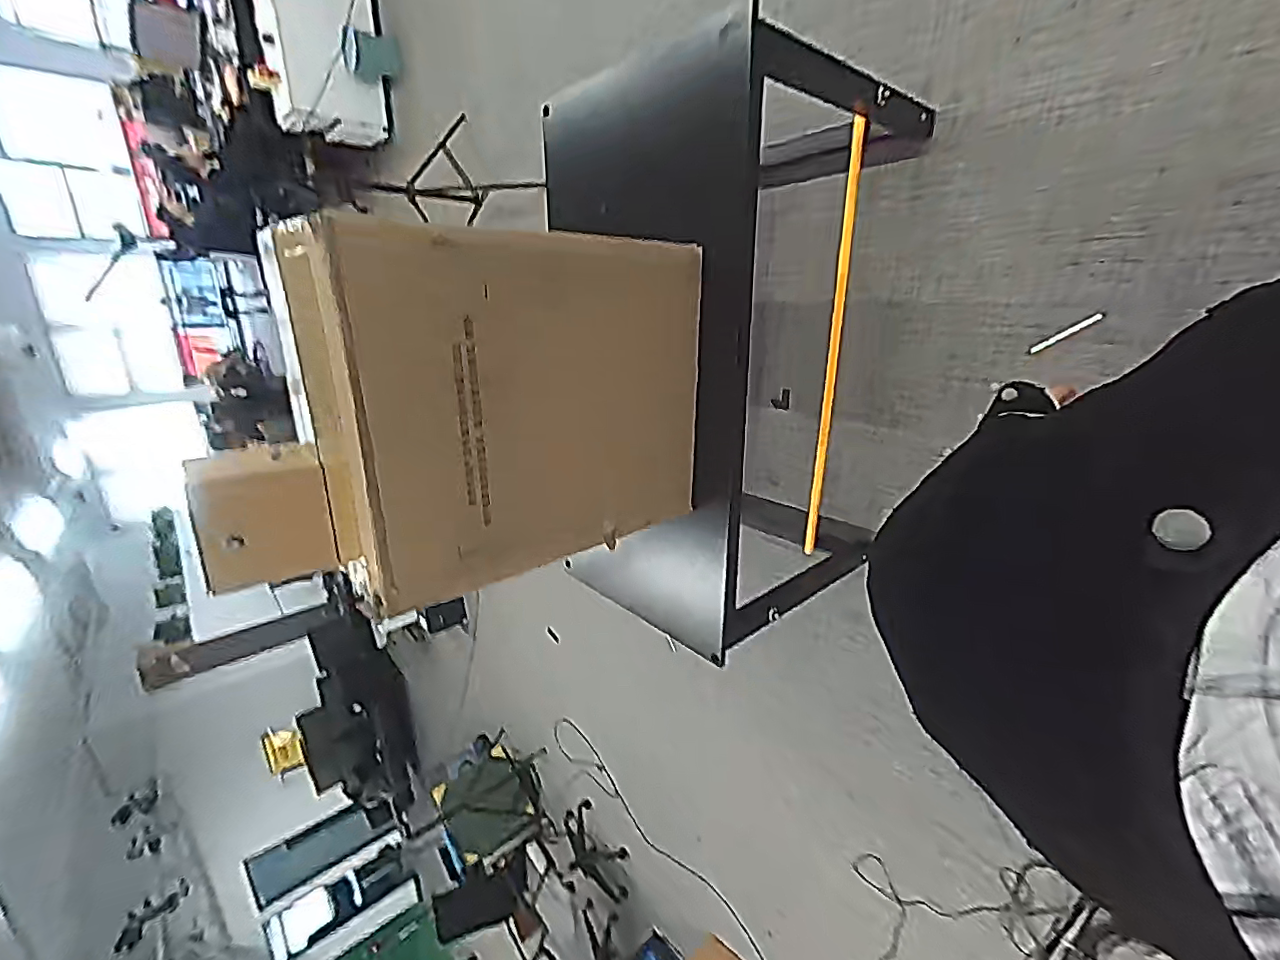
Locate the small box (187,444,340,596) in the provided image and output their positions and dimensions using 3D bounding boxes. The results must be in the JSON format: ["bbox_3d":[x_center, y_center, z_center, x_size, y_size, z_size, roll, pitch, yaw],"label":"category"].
[{"bbox_3d":[-0.593,0.053,0.859,0.168,0.176,0.179,22,117,47],"label":"small box"}]
